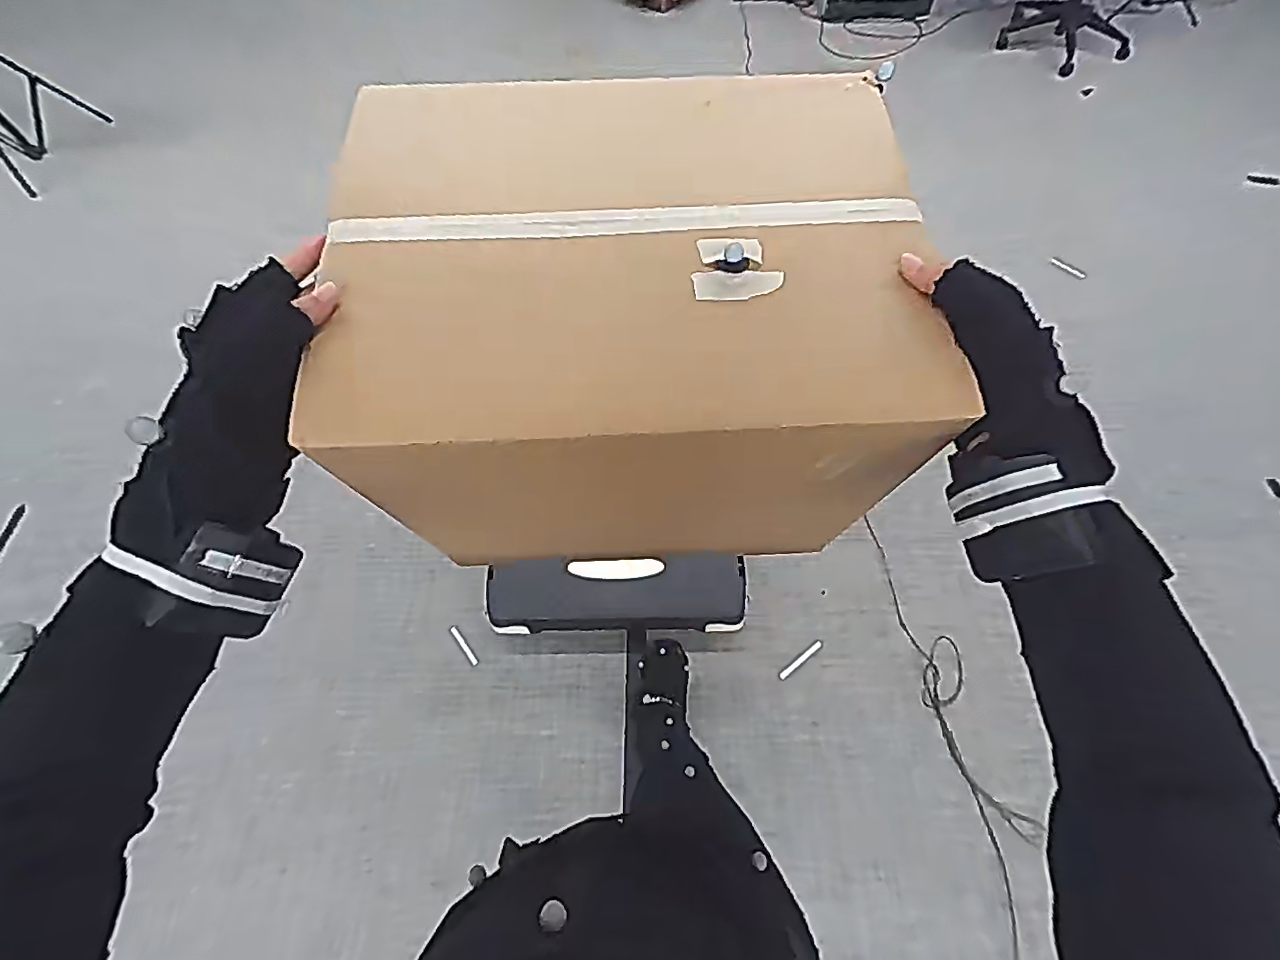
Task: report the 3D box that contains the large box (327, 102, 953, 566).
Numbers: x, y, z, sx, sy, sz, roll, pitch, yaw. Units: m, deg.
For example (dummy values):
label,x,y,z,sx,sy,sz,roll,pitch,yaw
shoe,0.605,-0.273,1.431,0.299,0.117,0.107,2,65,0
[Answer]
label,x,y,z,sx,sy,sz,roll,pitch,yaw
large box,-0.007,-0.112,0.531,0.408,0.320,0.320,-3,68,-1
